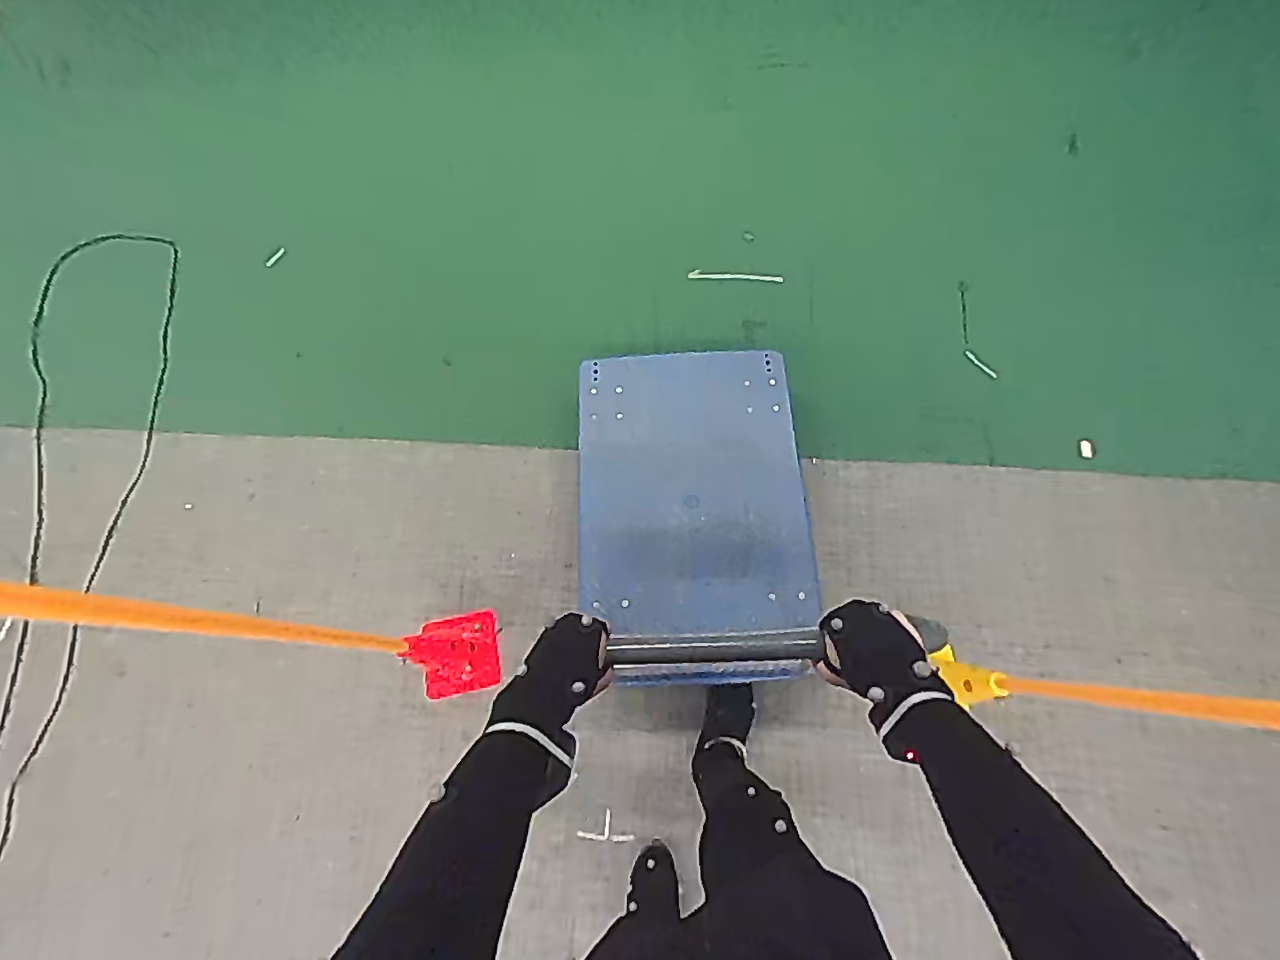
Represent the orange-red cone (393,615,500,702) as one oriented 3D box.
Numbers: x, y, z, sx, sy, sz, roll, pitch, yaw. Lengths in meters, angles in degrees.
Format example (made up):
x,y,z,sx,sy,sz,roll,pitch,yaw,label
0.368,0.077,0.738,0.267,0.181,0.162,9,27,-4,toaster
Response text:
x,y,z,sx,sy,sz,roll,pitch,yaw,label
-0.479,0.407,1.263,0.199,0.360,0.198,-12,69,-1,orange-red cone
